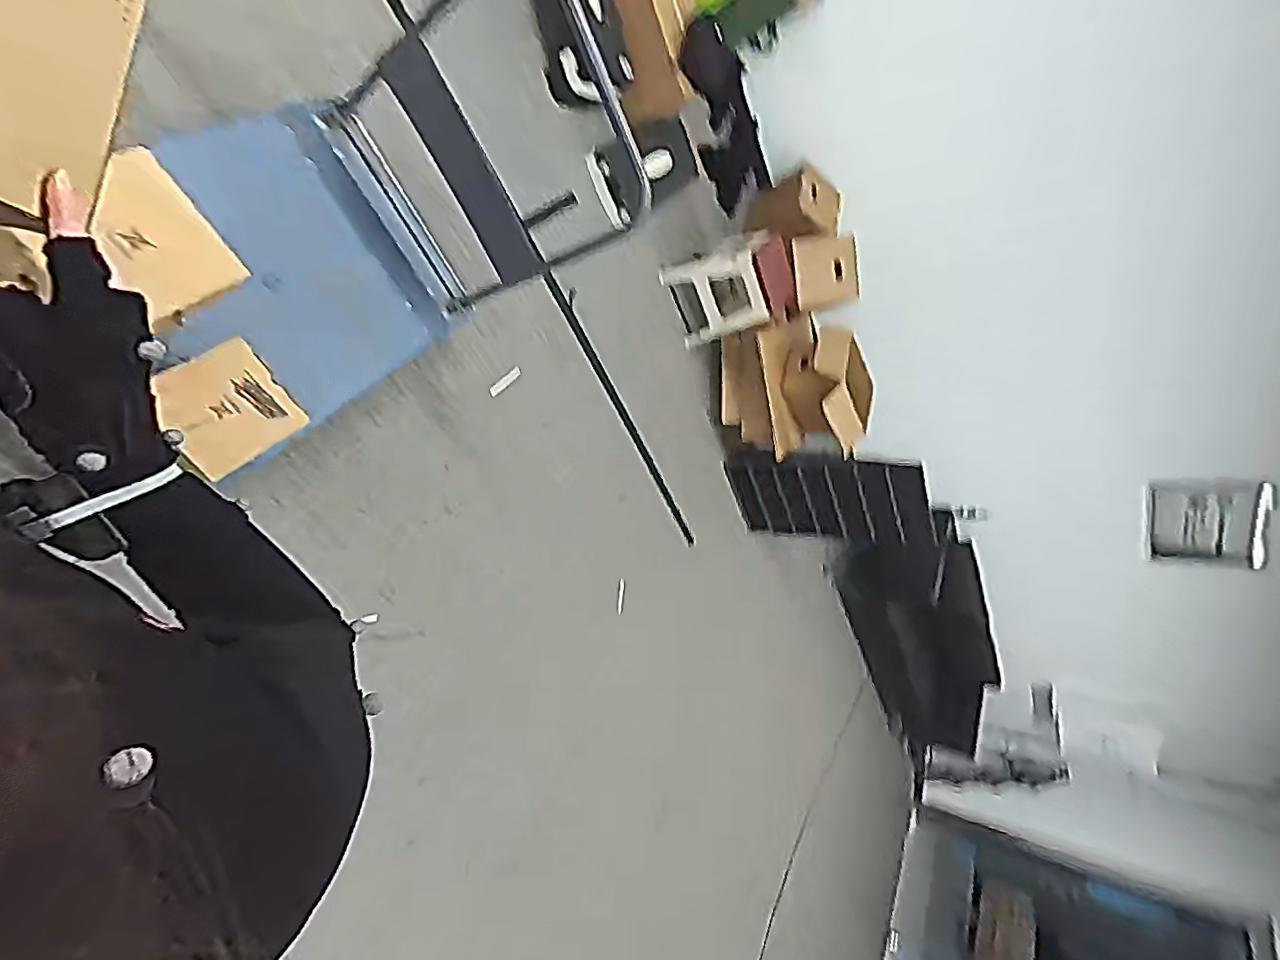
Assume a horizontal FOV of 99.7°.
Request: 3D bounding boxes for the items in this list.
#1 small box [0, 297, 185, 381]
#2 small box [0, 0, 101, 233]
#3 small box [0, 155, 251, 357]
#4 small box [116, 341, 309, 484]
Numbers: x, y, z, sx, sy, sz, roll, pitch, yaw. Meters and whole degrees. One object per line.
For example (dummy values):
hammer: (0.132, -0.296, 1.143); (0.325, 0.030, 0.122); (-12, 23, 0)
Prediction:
small box: (-0.921, -0.281, 0.900); (0.179, 0.176, 0.168); (-55, 129, -36)
small box: (-0.413, -0.245, 0.252); (0.168, 0.179, 0.176); (17, 84, -85)
small box: (-0.665, -0.280, 0.696); (0.179, 0.176, 0.168); (-54, 128, -36)
small box: (-0.707, -0.109, 0.897); (0.179, 0.176, 0.168); (-51, 126, -37)
